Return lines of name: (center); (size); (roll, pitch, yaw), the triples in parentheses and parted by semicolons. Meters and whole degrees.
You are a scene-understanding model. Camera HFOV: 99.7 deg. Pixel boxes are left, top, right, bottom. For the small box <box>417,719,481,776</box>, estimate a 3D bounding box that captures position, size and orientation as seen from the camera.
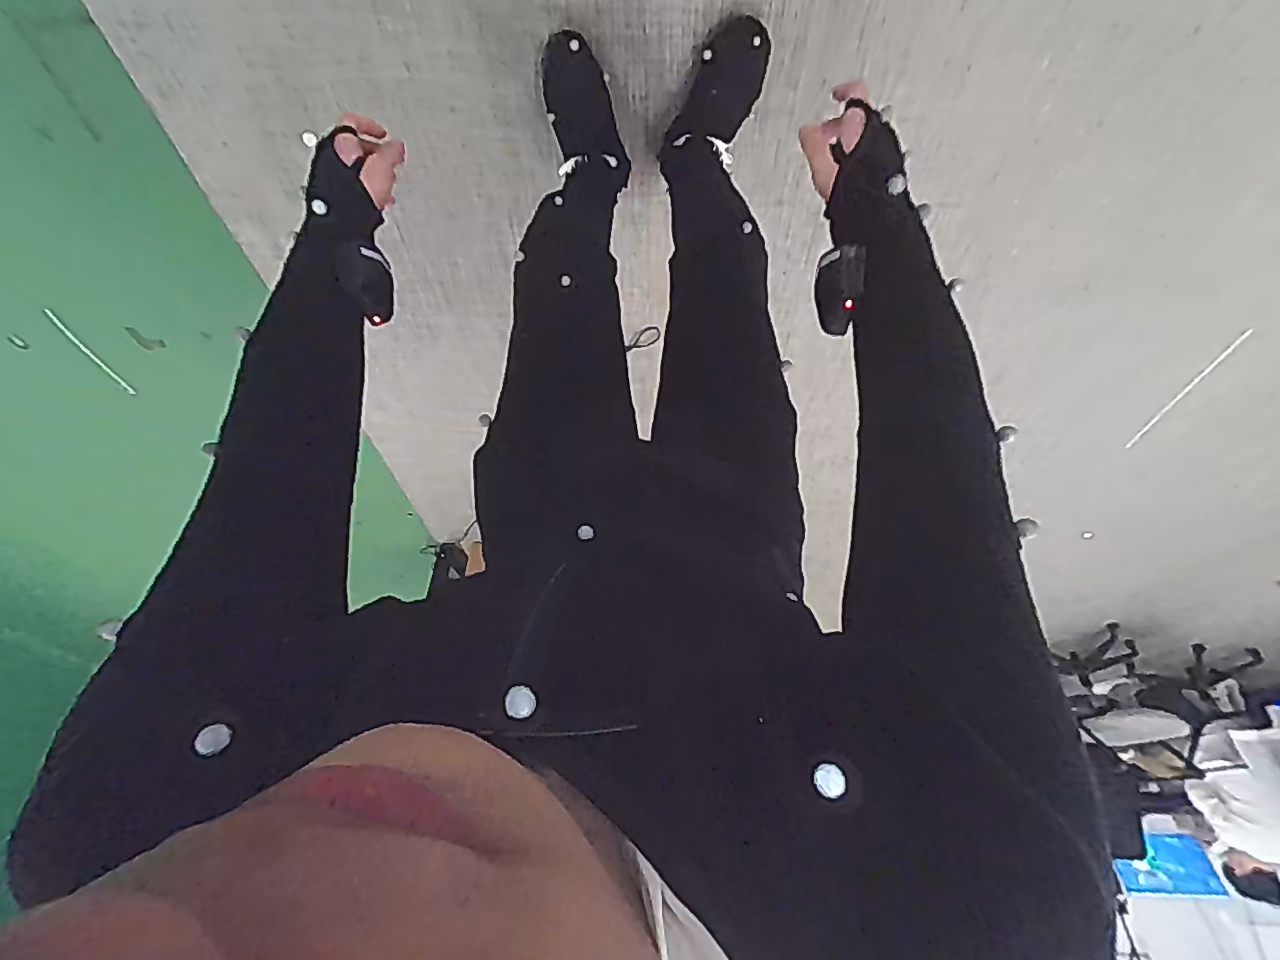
small box: (-0.696, 0.990, 1.997); (0.168, 0.176, 0.179); (0, 146, 0)
